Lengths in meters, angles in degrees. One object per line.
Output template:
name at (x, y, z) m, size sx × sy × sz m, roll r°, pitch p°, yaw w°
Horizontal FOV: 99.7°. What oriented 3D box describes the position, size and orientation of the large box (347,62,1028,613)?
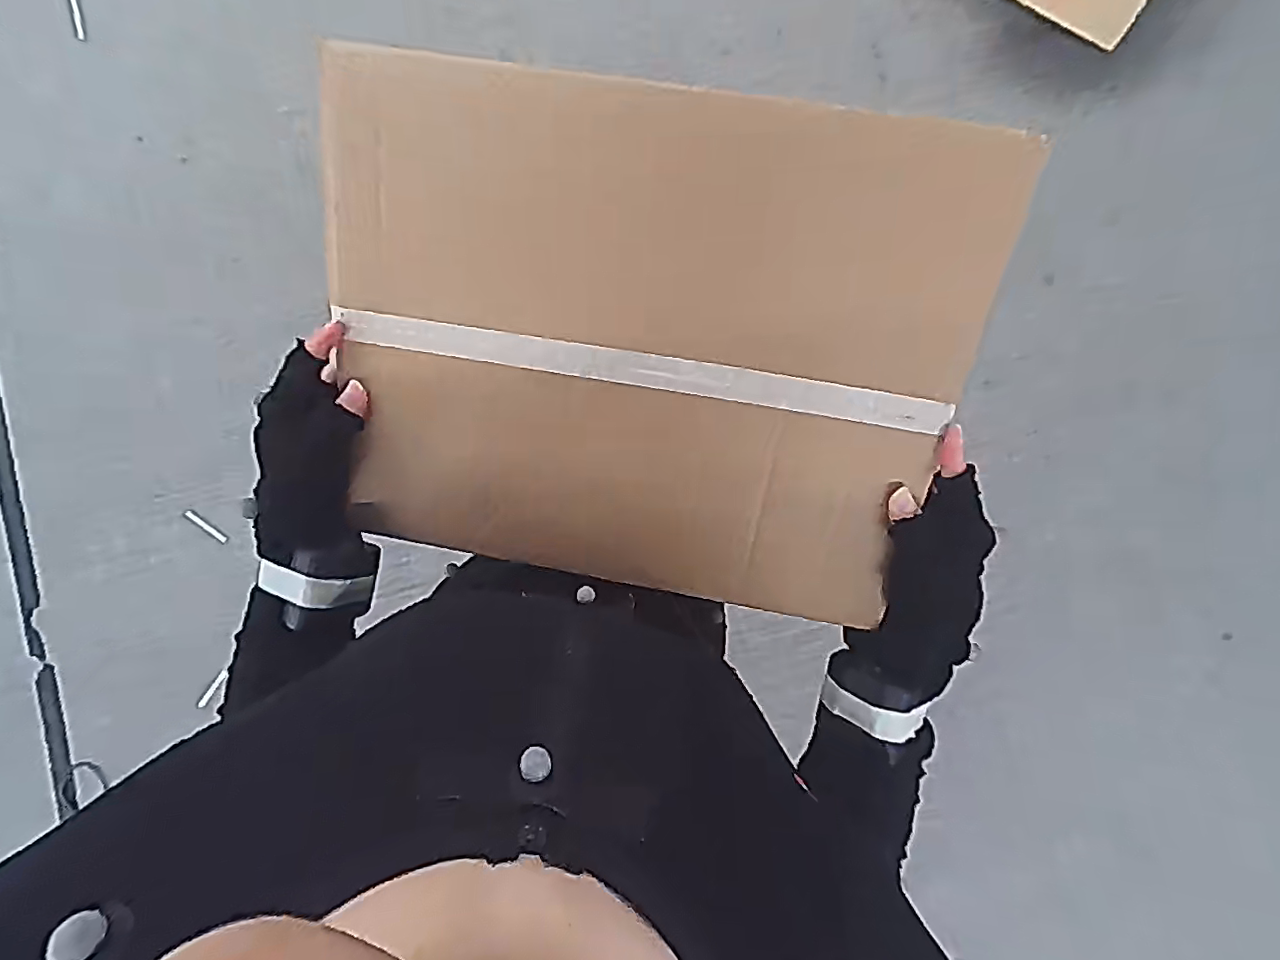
large box at (0.015, -0.123, 0.498) m, size 0.408 × 0.320 × 0.320 m, roll 10°, pitch 111°, yaw 4°
